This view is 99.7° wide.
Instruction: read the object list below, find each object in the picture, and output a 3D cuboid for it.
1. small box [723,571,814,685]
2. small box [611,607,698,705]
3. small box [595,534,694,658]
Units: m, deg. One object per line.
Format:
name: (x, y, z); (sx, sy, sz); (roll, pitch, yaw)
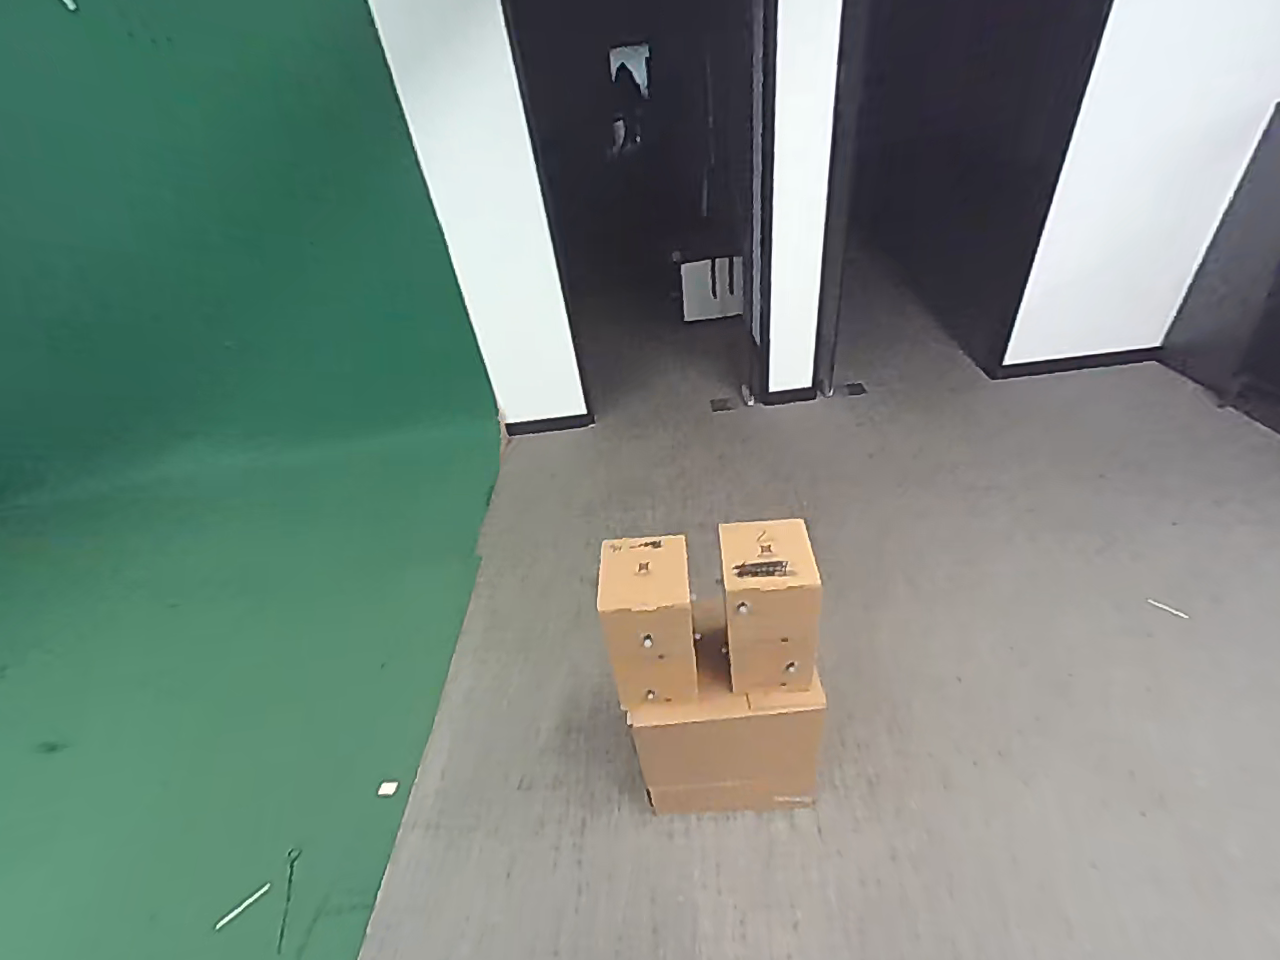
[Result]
small box: (0.268, 0.317, 1.142); (0.168, 0.176, 0.179); (-5, 37, 7)
small box: (0.033, 0.352, 1.149); (0.168, 0.176, 0.179); (-5, 39, 3)
small box: (0.014, 0.228, 1.044); (0.168, 0.176, 0.179); (-4, 39, 4)
